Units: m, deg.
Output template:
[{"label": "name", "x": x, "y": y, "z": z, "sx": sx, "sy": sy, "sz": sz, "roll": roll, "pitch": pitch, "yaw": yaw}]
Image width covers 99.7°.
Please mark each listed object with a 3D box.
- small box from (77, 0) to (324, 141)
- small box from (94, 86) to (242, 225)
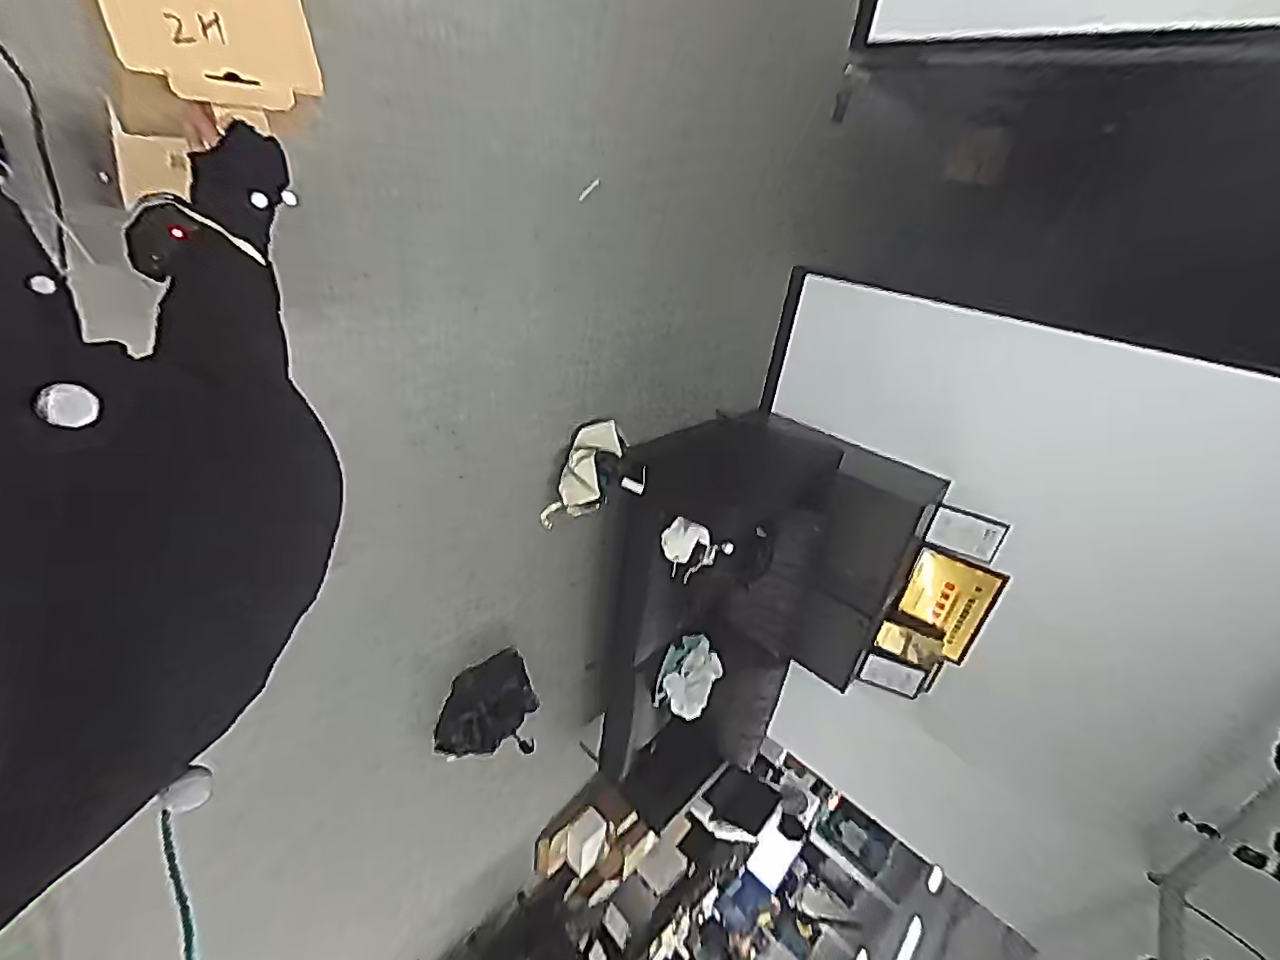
[{"label": "small box", "x": -0.456, "y": -0.477, "z": 0.550, "sx": 0.168, "sy": 0.176, "sz": 0.179, "roll": -23, "pitch": 112, "yaw": -39}, {"label": "small box", "x": -0.842, "y": -0.578, "z": 0.970, "sx": 0.168, "sy": 0.176, "sz": 0.179, "roll": -15, "pitch": 126, "yaw": -47}]
